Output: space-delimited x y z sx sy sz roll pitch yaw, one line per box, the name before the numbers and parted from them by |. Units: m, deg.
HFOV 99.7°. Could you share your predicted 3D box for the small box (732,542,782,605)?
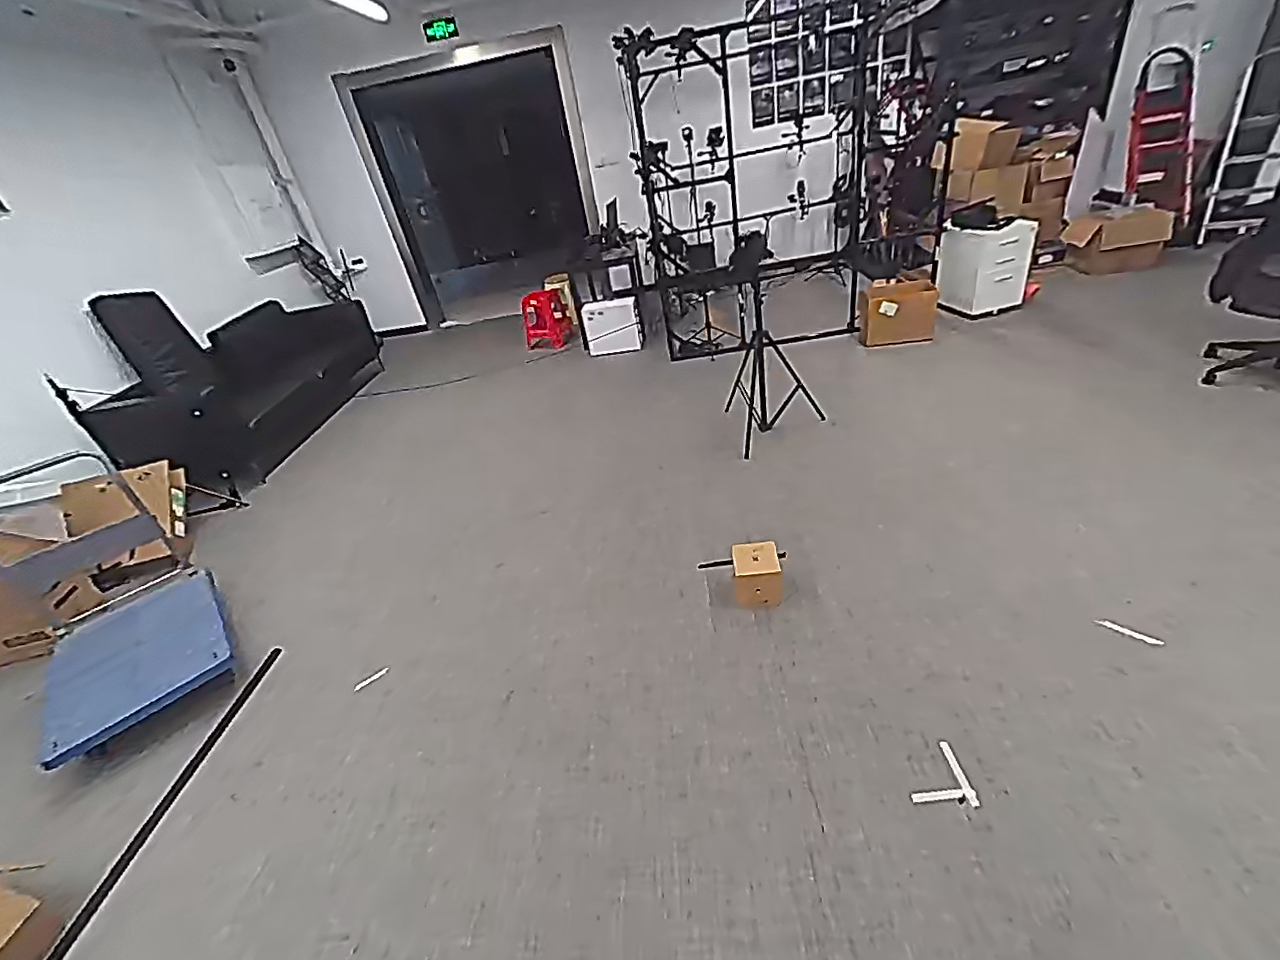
small box | 0.449 0.363 2.072 0.168 0.176 0.179 -6 32 8
